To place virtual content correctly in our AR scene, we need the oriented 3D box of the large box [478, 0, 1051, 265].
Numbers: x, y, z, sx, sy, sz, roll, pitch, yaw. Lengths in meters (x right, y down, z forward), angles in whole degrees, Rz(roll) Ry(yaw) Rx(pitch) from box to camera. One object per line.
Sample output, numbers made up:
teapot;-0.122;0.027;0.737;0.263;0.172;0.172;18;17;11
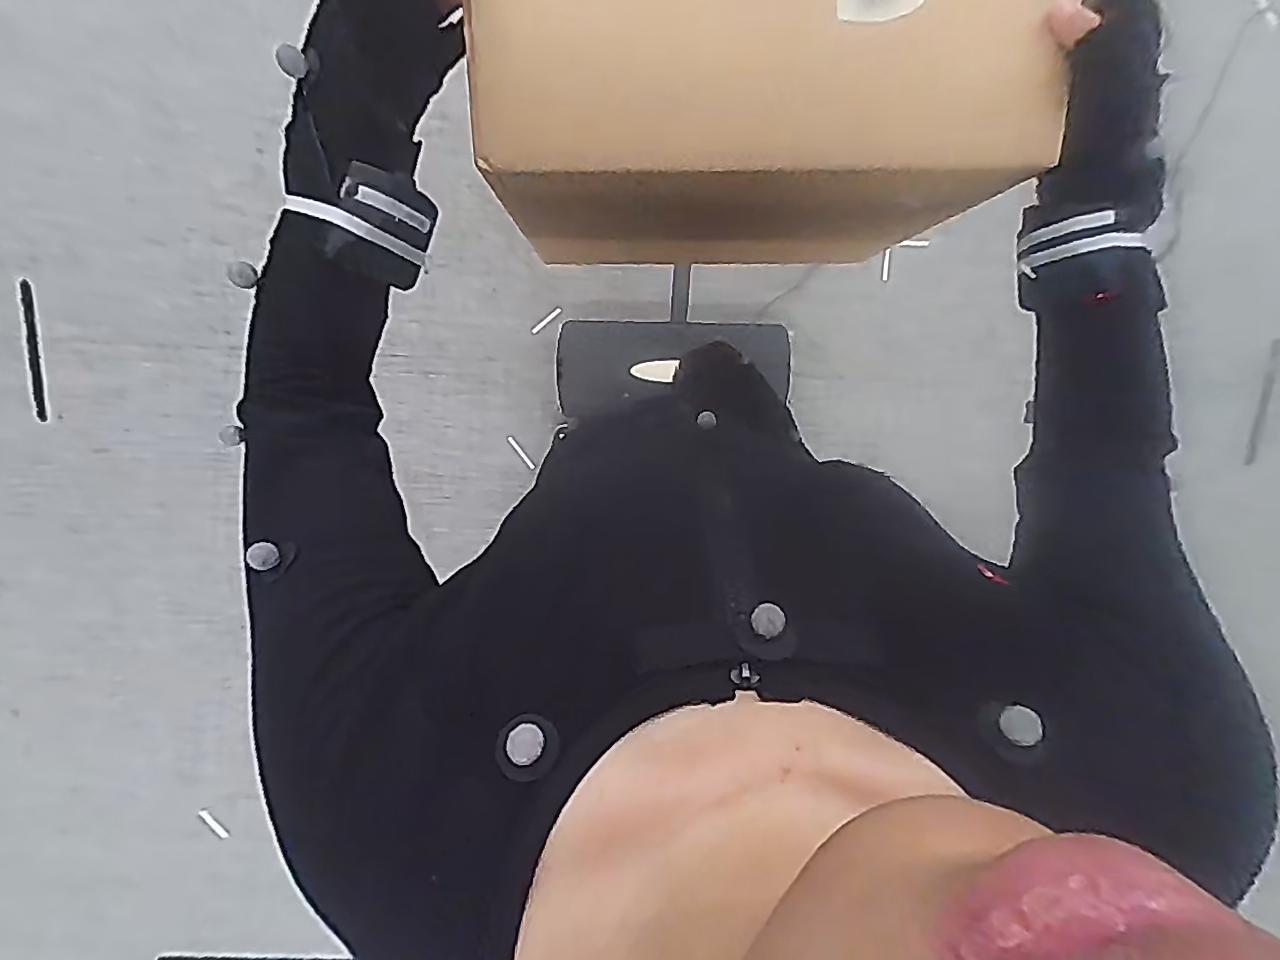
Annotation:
large box;0.079;-0.401;0.508;0.408;0.320;0.320;-2;101;-2
